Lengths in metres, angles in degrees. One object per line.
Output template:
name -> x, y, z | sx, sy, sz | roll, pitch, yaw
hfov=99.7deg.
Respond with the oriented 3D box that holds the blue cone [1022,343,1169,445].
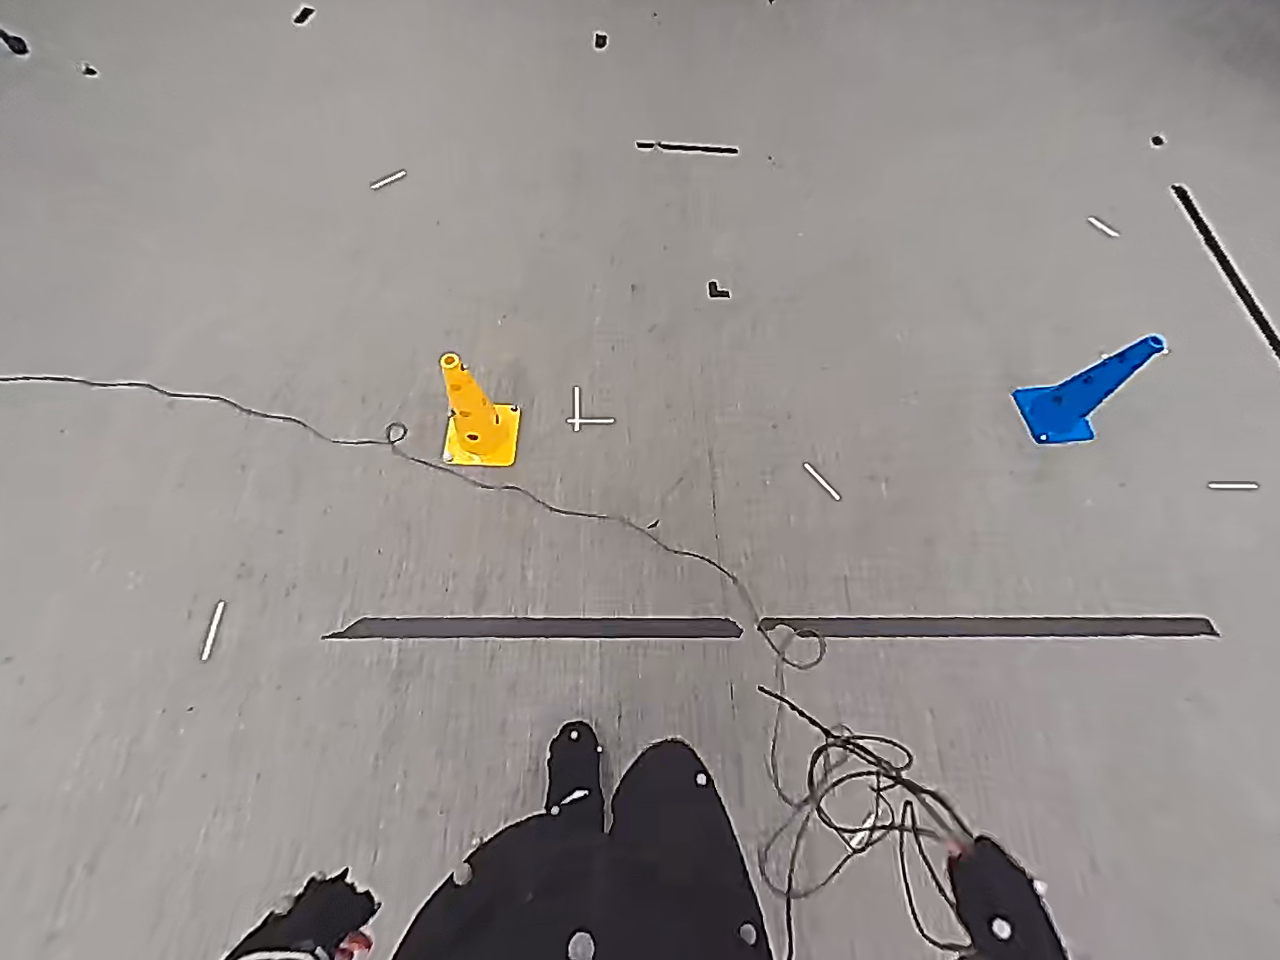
blue cone -> 1.315, -0.266, 1.542 | 0.193, 0.380, 0.192 | -4, 66, -5
